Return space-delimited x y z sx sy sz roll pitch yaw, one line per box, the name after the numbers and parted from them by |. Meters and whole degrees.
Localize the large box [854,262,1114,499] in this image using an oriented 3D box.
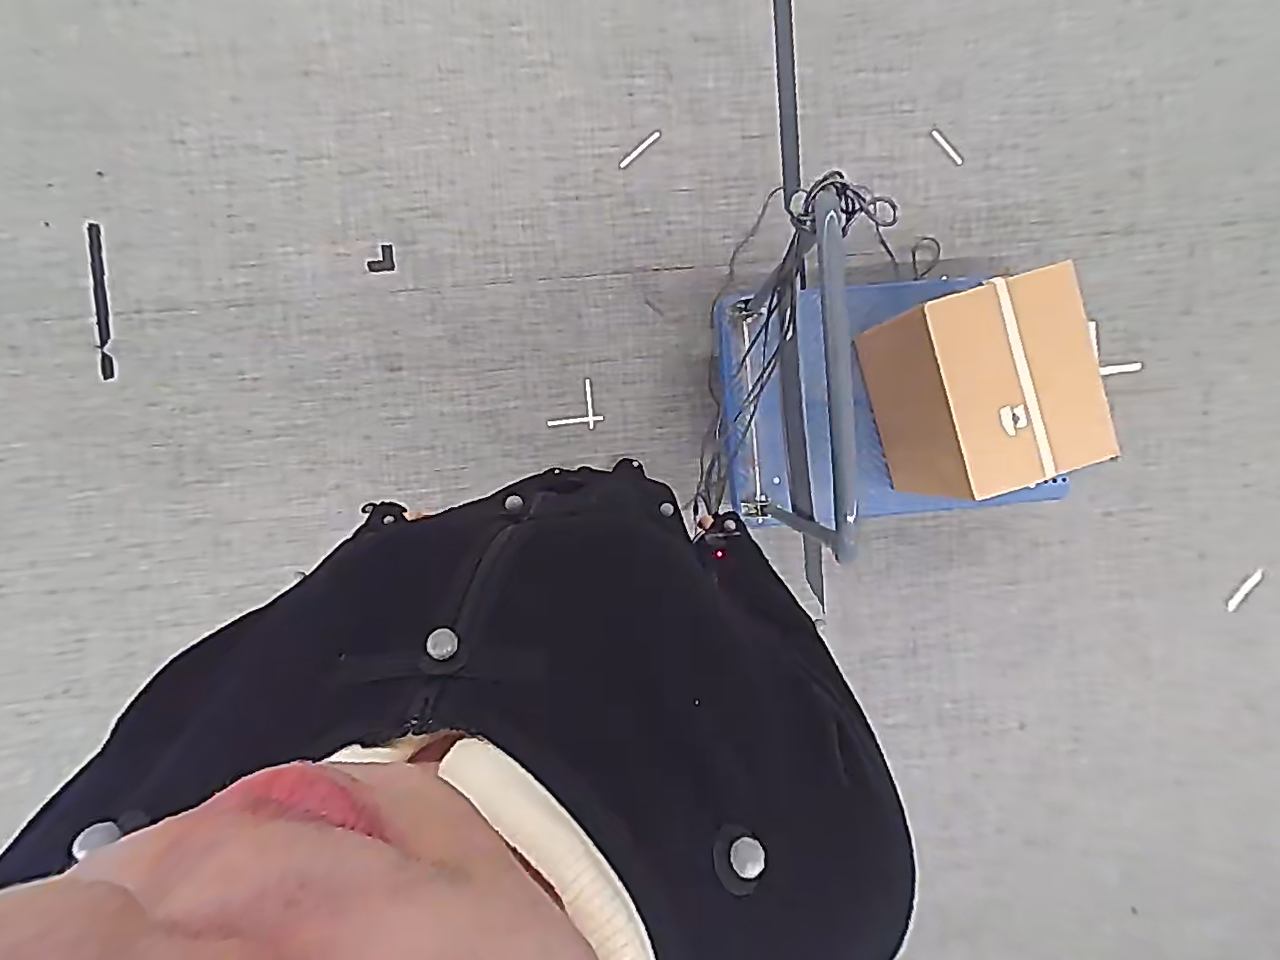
0.735 -0.204 1.206 0.320 0.320 0.408 -17 94 -1 | large box
